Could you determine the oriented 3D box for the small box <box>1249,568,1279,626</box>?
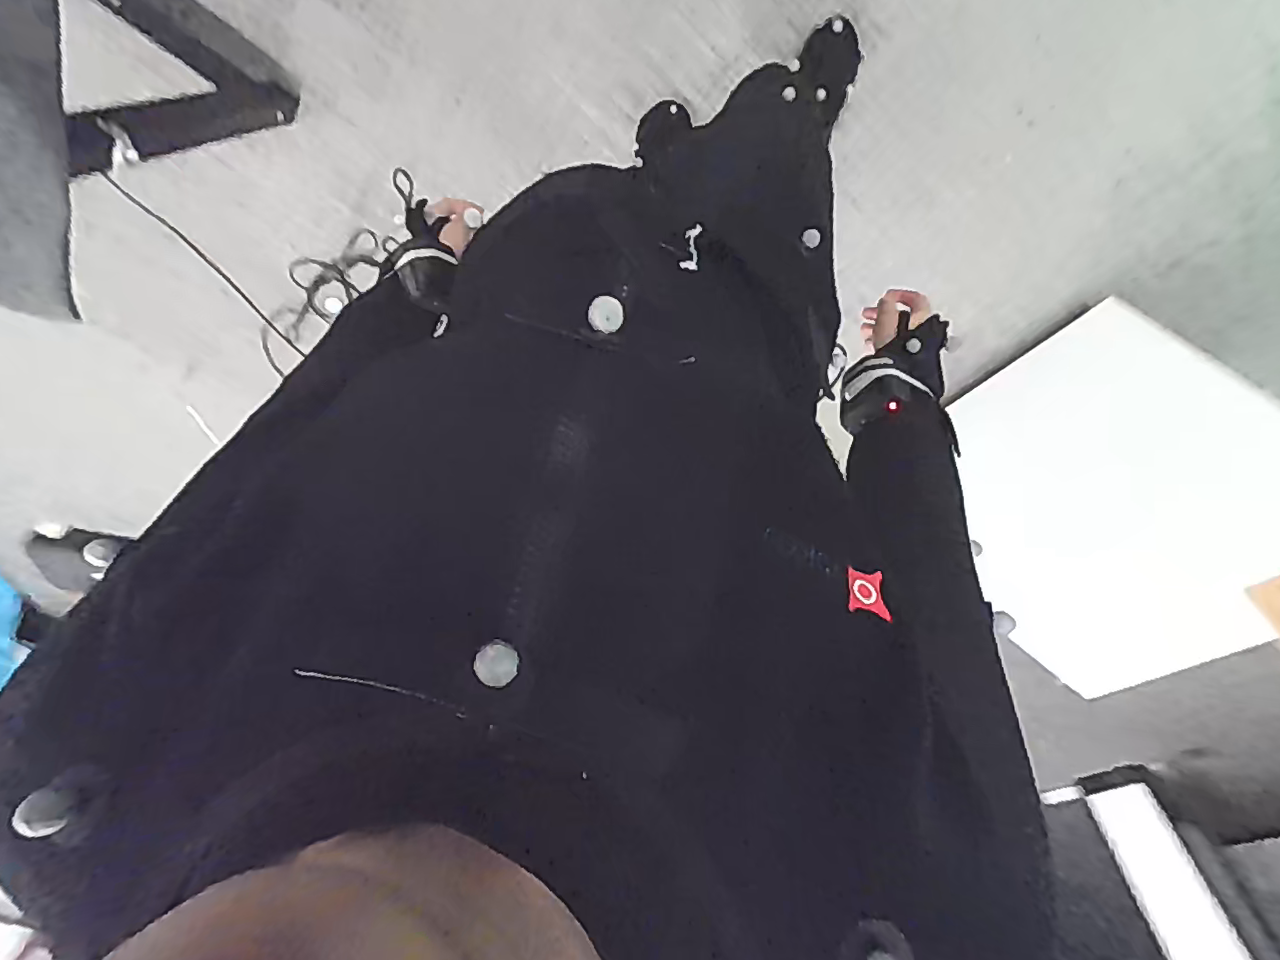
[{"bbox_3d":[1.101,0.219,0.812,0.179,0.176,0.168,34,126,-21],"label":"small box"}]
